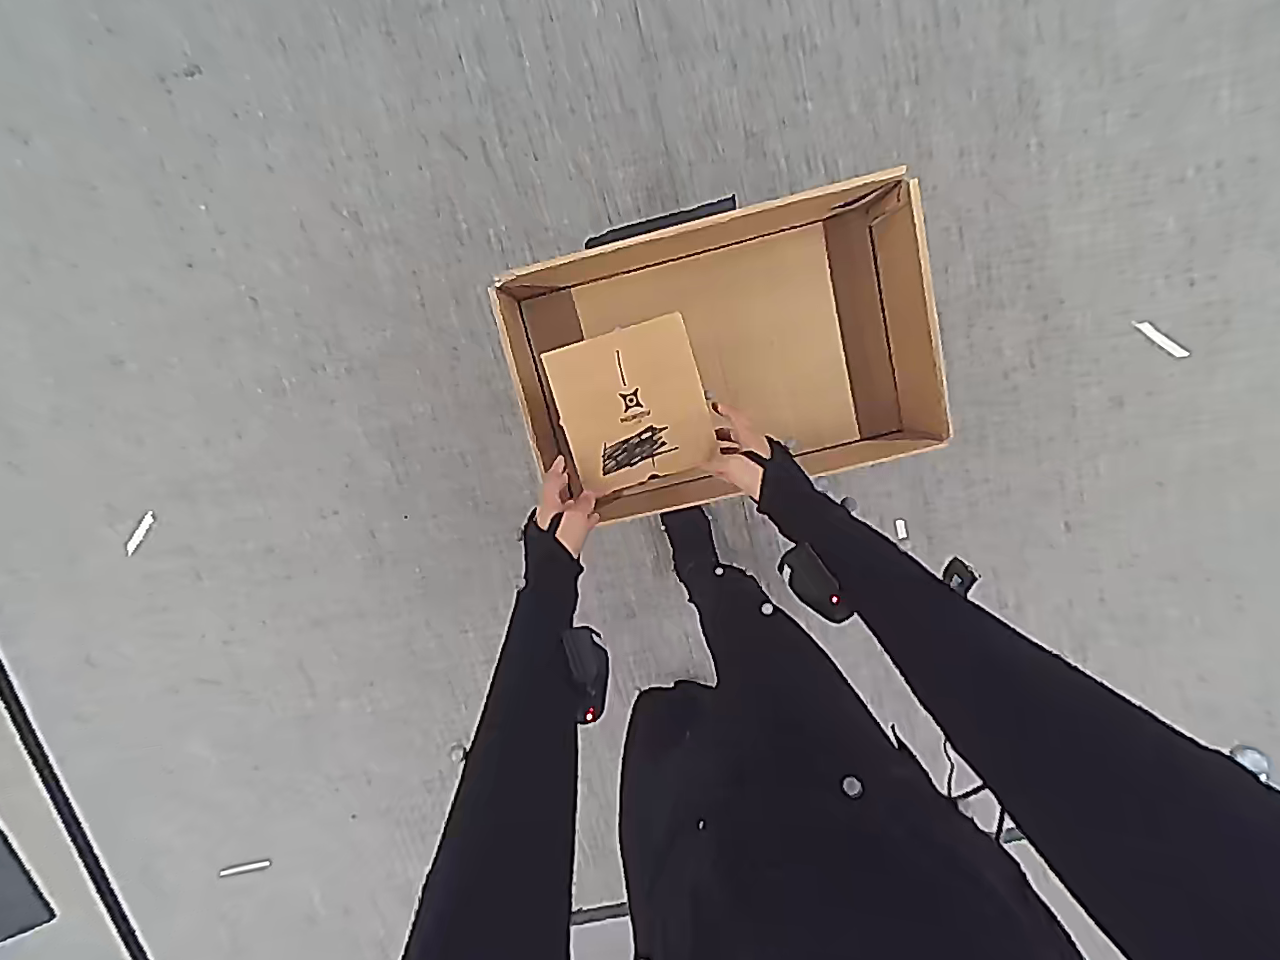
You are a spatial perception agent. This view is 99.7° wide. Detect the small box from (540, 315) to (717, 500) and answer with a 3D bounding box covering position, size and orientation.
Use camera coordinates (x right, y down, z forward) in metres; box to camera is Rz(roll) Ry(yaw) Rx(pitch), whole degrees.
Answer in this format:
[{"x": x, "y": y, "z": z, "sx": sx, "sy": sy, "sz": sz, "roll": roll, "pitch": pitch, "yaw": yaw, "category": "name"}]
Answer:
[{"x": -0.008, "y": -0.092, "z": 0.687, "sx": 0.168, "sy": 0.176, "sz": 0.179, "roll": -17, "pitch": 98, "yaw": 4, "category": "small box"}]
